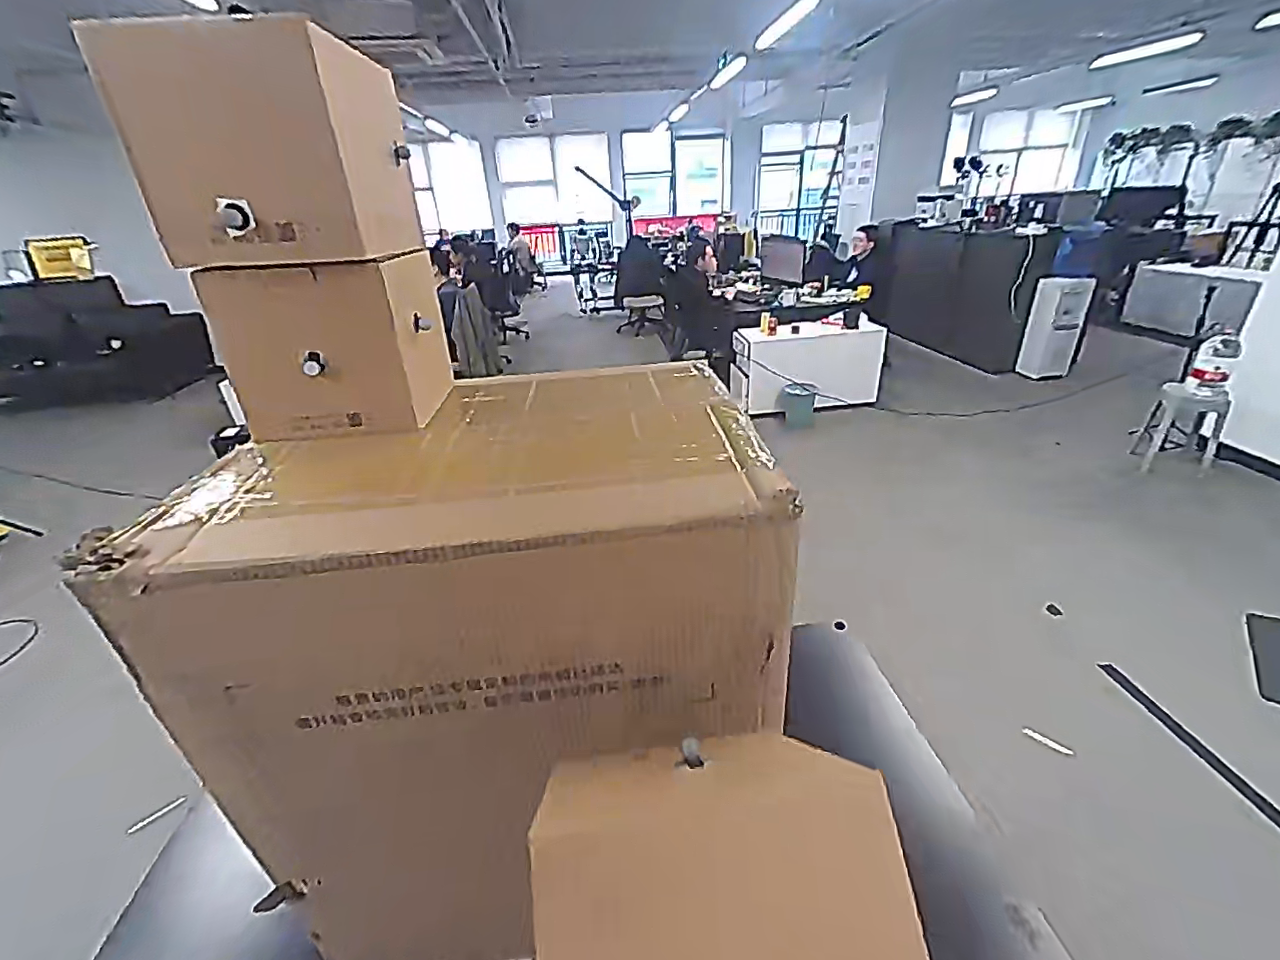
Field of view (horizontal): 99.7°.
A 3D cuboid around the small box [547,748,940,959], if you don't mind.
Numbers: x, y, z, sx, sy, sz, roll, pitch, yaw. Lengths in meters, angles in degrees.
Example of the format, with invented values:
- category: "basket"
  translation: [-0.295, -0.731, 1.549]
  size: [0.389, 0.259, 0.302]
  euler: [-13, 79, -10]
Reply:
- category: "small box"
  translation: [0.041, 0.251, 0.290]
  size: [0.168, 0.176, 0.179]
  euler: [-5, 70, -6]

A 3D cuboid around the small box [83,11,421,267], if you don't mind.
- category: "small box"
  translation: [-0.317, -0.292, 0.494]
  size: [0.168, 0.176, 0.179]
  euler: [-5, 27, -2]

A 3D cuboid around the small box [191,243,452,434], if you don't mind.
- category: "small box"
  translation: [-0.313, -0.153, 0.582]
  size: [0.168, 0.176, 0.179]
  euler: [-5, 27, -4]
